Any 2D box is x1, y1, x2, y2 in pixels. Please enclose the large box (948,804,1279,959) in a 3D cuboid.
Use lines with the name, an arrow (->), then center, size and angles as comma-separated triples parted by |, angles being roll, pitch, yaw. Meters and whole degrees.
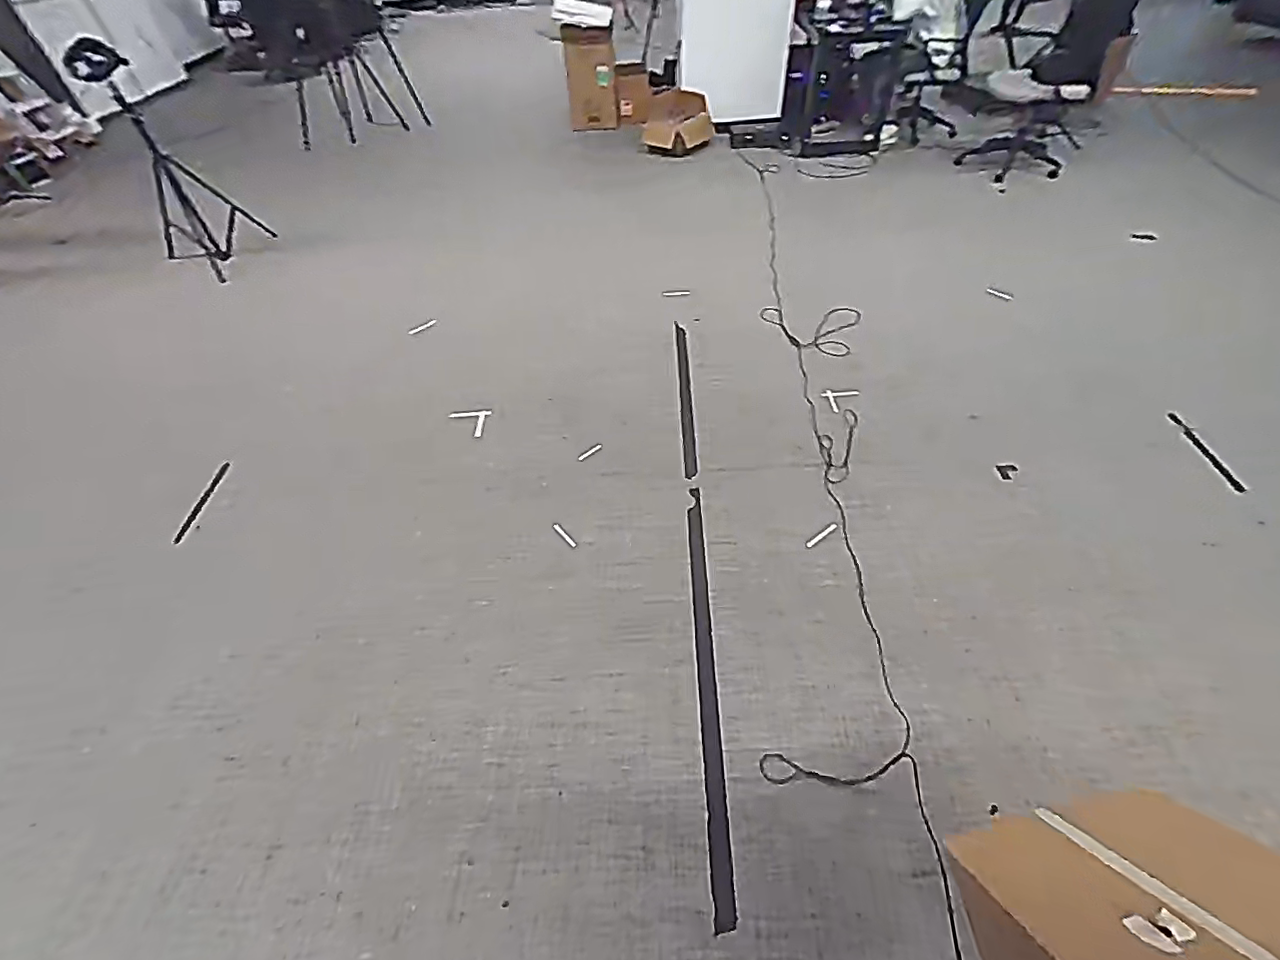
large box -> 0.639, 0.641, 0.600 | 0.320, 0.408, 0.320 | -16, 81, 0
